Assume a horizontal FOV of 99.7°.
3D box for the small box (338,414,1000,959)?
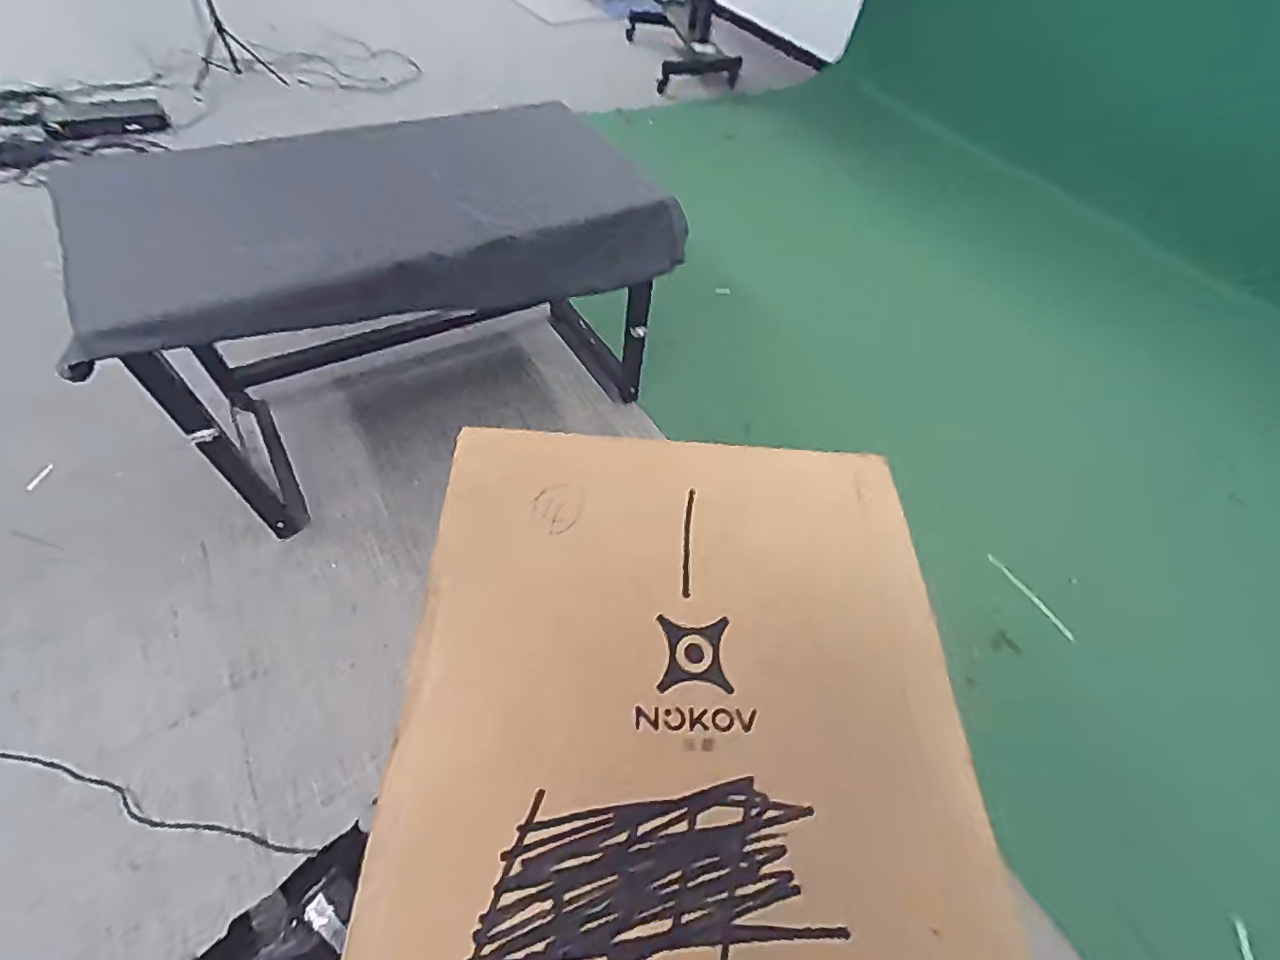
[{"bbox_3d":[0.003,0.093,0.239,0.168,0.176,0.179,3,58,-5],"label":"small box"}]
